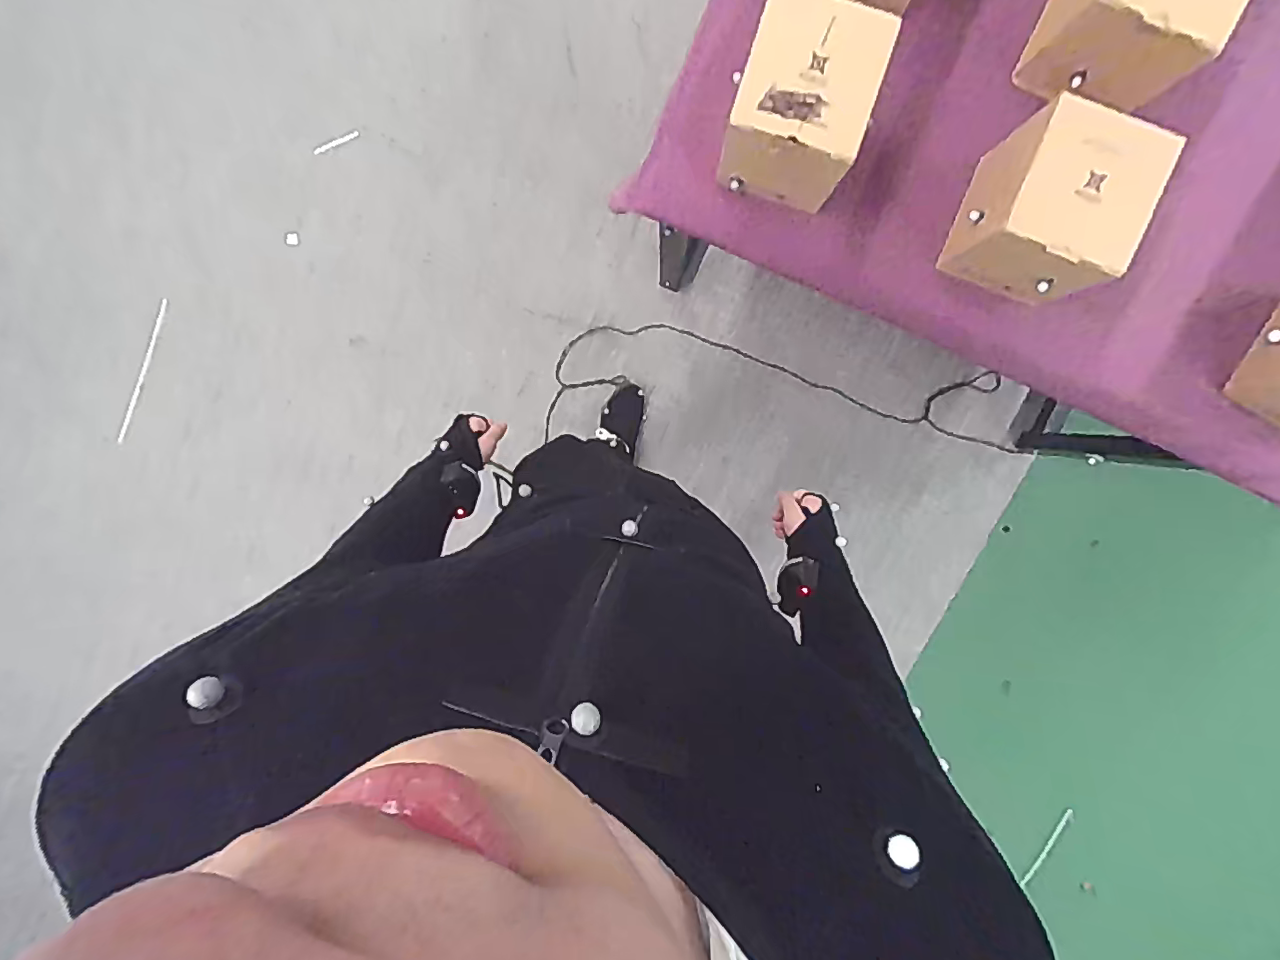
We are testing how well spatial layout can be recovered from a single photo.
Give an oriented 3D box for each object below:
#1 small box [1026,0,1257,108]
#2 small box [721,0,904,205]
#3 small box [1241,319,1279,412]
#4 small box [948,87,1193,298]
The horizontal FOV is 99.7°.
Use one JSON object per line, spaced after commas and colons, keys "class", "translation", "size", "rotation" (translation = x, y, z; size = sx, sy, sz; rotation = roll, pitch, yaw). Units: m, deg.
{"class": "small box", "translation": [0.655, -0.629, 0.698], "size": [0.168, 0.176, 0.179], "rotation": [23, 99, -1]}
{"class": "small box", "translation": [0.215, -0.506, 0.730], "size": [0.168, 0.176, 0.179], "rotation": [18, 96, 0]}
{"class": "small box", "translation": [1.003, -0.163, 0.733], "size": [0.168, 0.176, 0.179], "rotation": [29, 96, -1]}
{"class": "small box", "translation": [0.558, -0.369, 0.733], "size": [0.168, 0.176, 0.179], "rotation": [21, 96, -1]}
